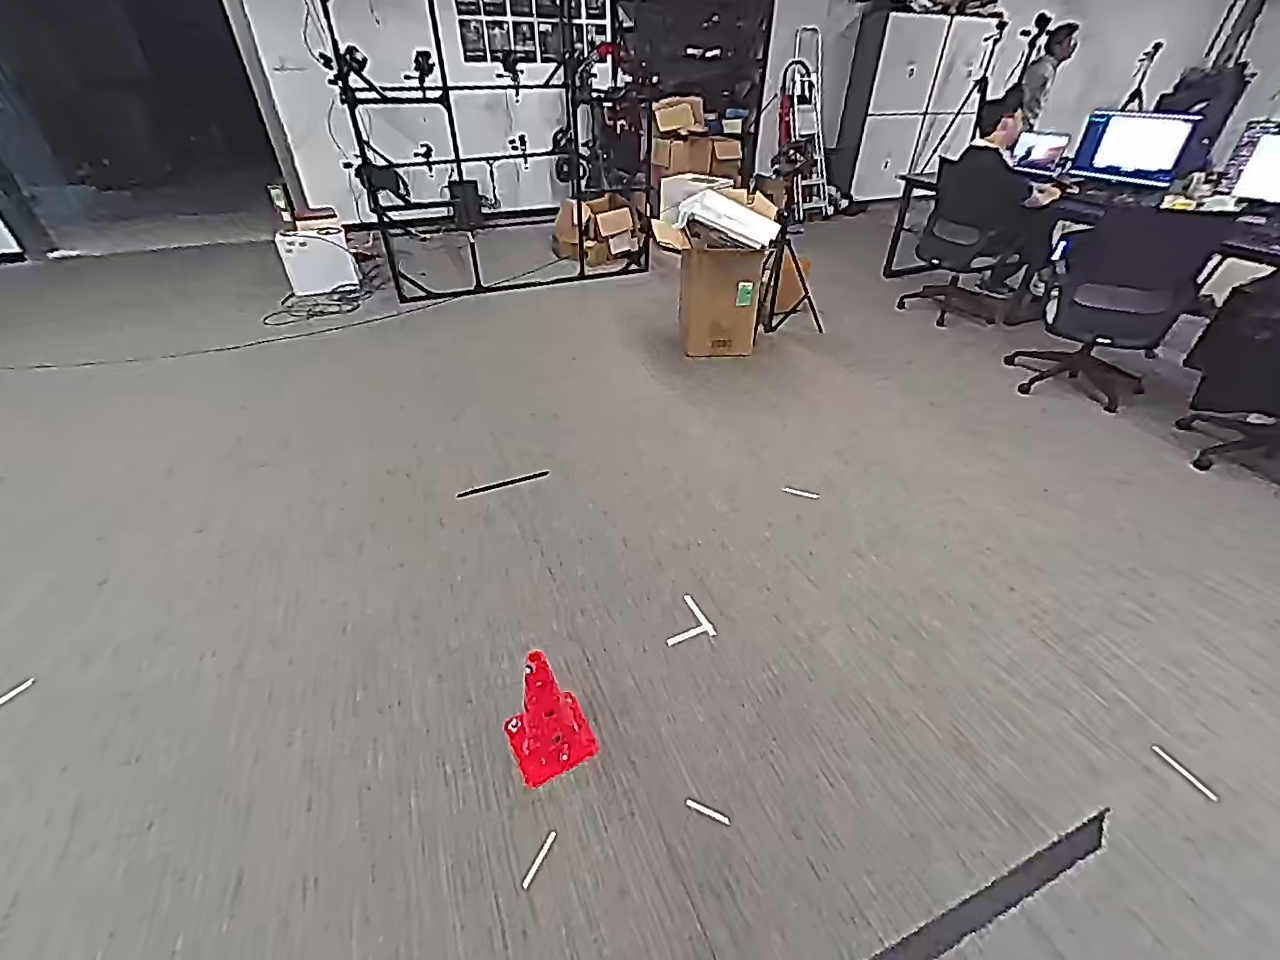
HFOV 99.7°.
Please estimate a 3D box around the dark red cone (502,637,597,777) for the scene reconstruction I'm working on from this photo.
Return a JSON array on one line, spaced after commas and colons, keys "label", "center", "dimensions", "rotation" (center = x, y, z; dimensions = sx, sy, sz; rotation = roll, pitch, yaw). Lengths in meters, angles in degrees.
[{"label": "dark red cone", "center": [-0.233, 0.512, 1.296], "dimensions": [0.202, 0.394, 0.201], "rotation": [-20, 43, -24]}]
